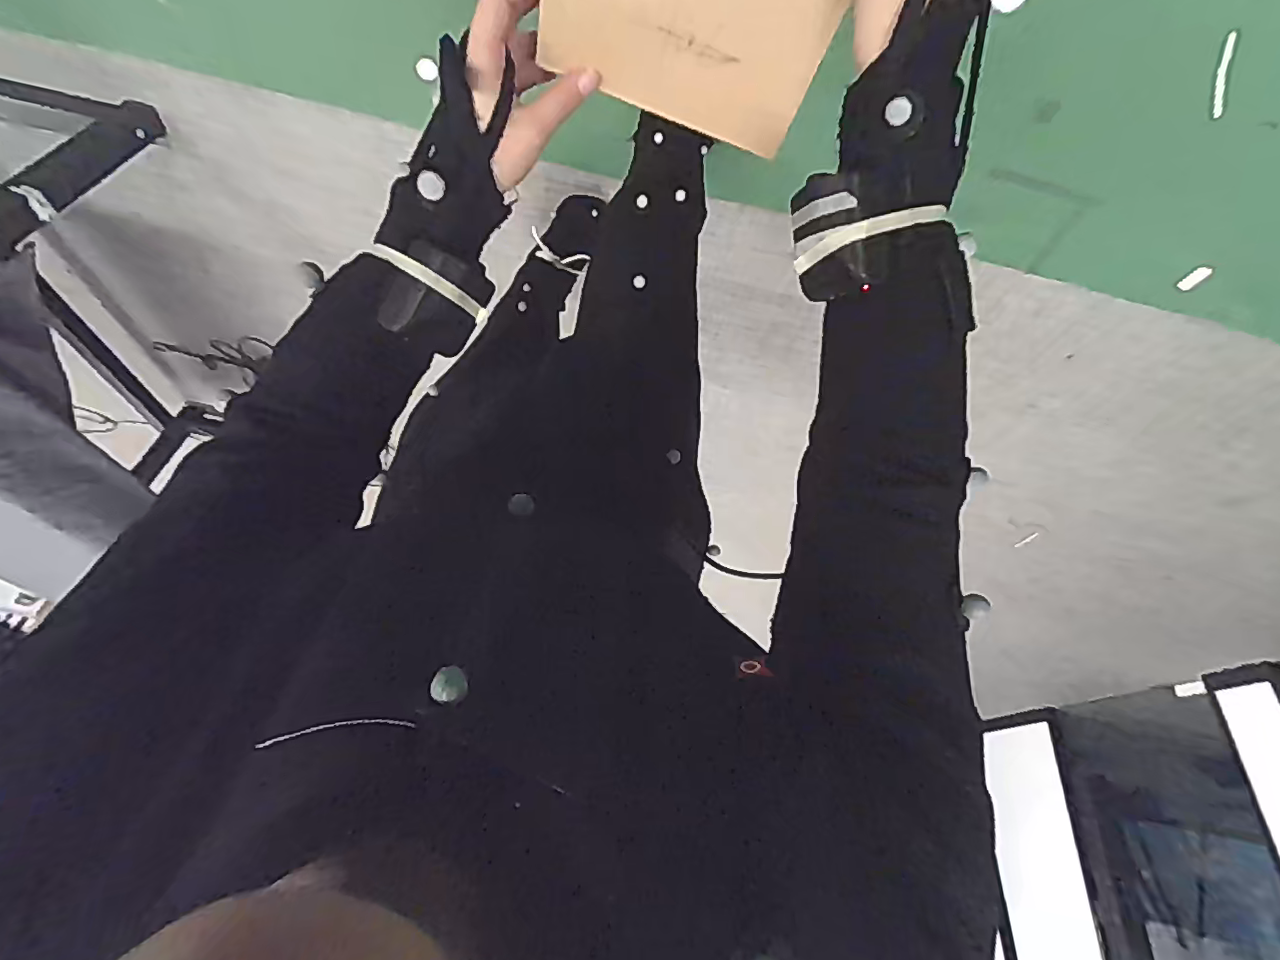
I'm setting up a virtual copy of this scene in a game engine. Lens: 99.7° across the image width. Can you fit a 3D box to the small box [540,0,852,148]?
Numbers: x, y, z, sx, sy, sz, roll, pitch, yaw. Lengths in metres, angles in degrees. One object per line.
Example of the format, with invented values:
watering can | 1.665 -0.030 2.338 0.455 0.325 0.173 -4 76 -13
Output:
small box | 0.052 -0.346 0.308 0.168 0.176 0.179 18 152 -6
